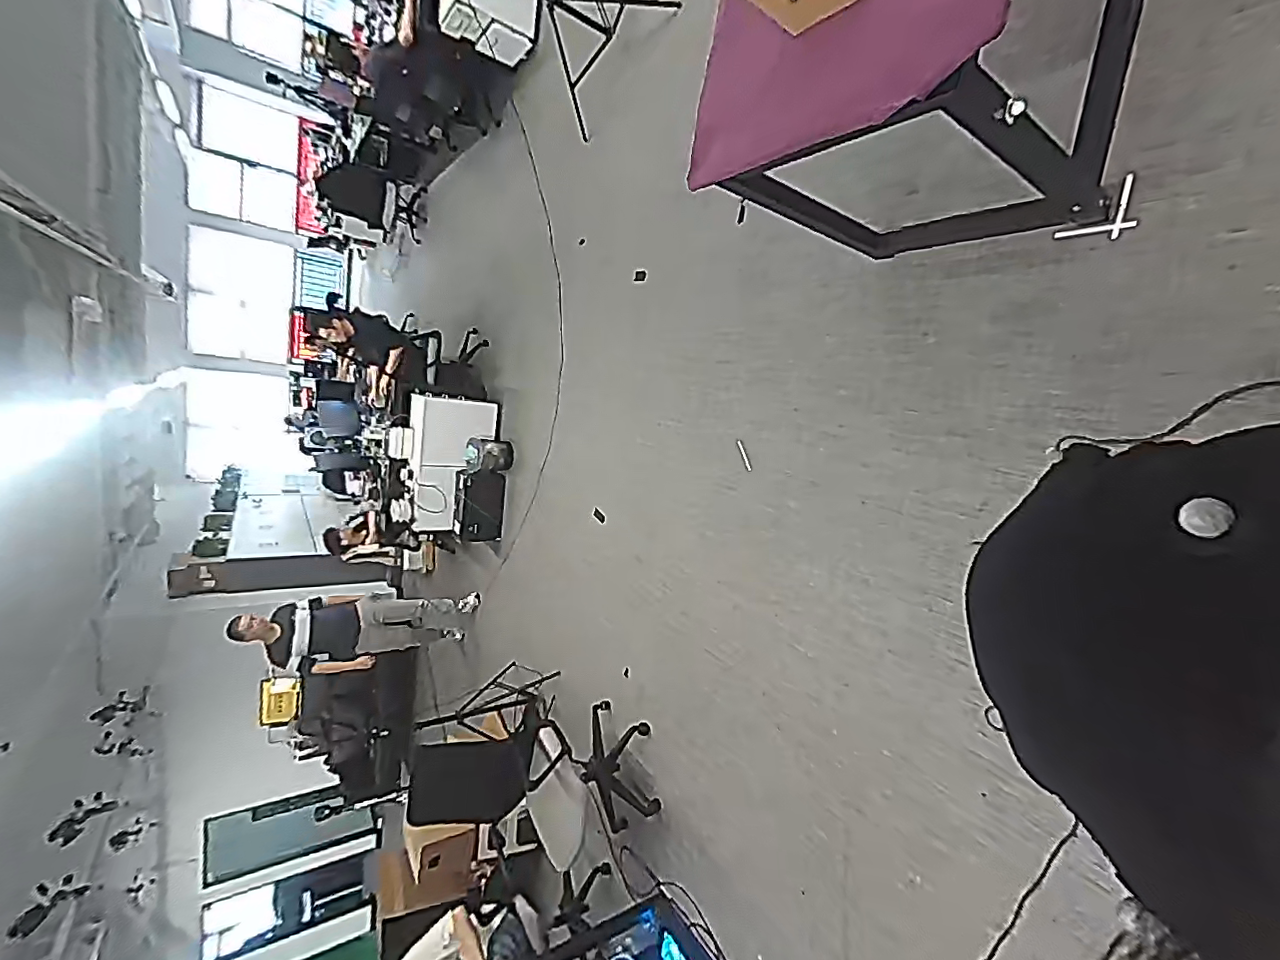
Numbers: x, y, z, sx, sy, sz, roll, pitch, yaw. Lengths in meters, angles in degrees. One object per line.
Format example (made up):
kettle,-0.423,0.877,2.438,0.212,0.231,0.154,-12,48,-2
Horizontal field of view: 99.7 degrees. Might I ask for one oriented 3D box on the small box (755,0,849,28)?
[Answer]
small box,0.297,-0.935,0.924,0.179,0.176,0.168,21,105,54
